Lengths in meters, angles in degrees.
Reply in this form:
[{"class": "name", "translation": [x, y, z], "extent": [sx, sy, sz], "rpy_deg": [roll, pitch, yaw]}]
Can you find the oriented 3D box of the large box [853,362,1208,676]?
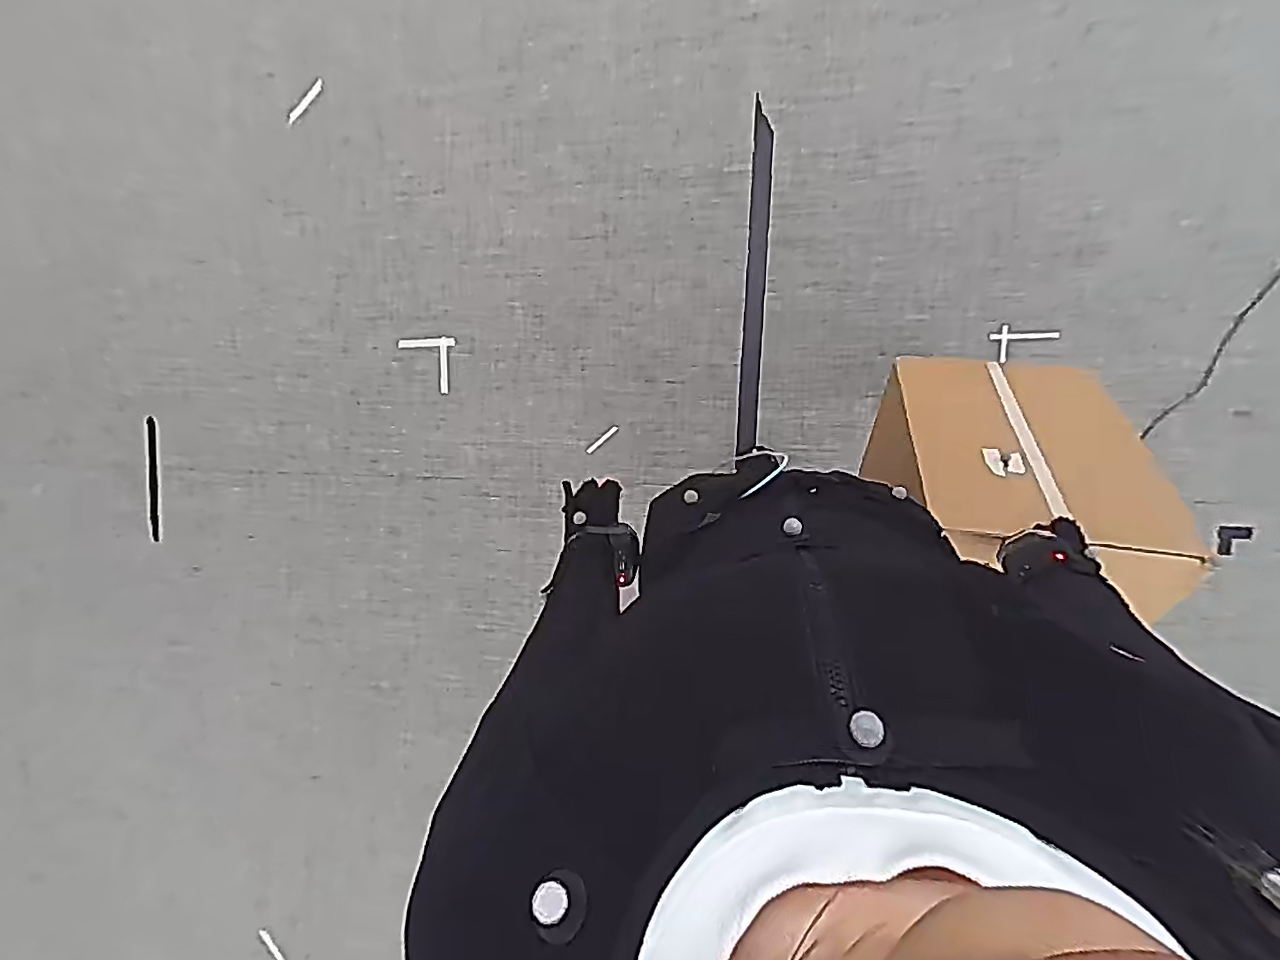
[{"class": "large box", "translation": [0.564, 0.050, 0.901], "extent": [0.320, 0.408, 0.320], "rpy_deg": [5, 136, 11]}]
